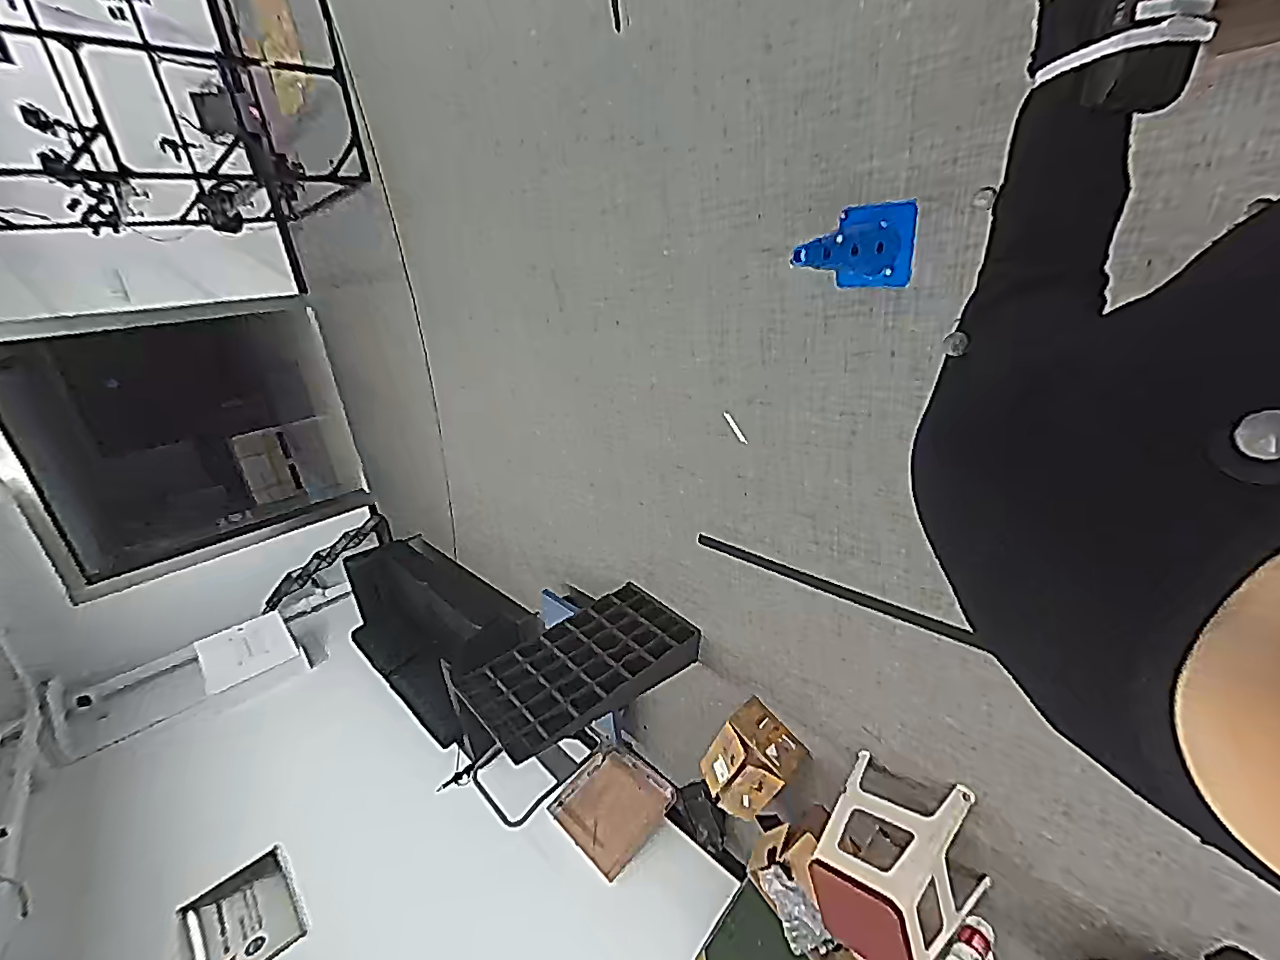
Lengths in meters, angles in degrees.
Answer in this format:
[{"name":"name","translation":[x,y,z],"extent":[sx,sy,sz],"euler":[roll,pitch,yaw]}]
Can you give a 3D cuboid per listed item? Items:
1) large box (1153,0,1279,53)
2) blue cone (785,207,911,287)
[{"name":"large box","translation":[0.547,-0.457,0.239],"extent":[0.408,0.320,0.320],"euler":[17,125,46]},{"name":"blue cone","translation":[0.484,-0.553,1.313],"extent":[0.192,0.380,0.193],"euler":[22,124,44]}]
